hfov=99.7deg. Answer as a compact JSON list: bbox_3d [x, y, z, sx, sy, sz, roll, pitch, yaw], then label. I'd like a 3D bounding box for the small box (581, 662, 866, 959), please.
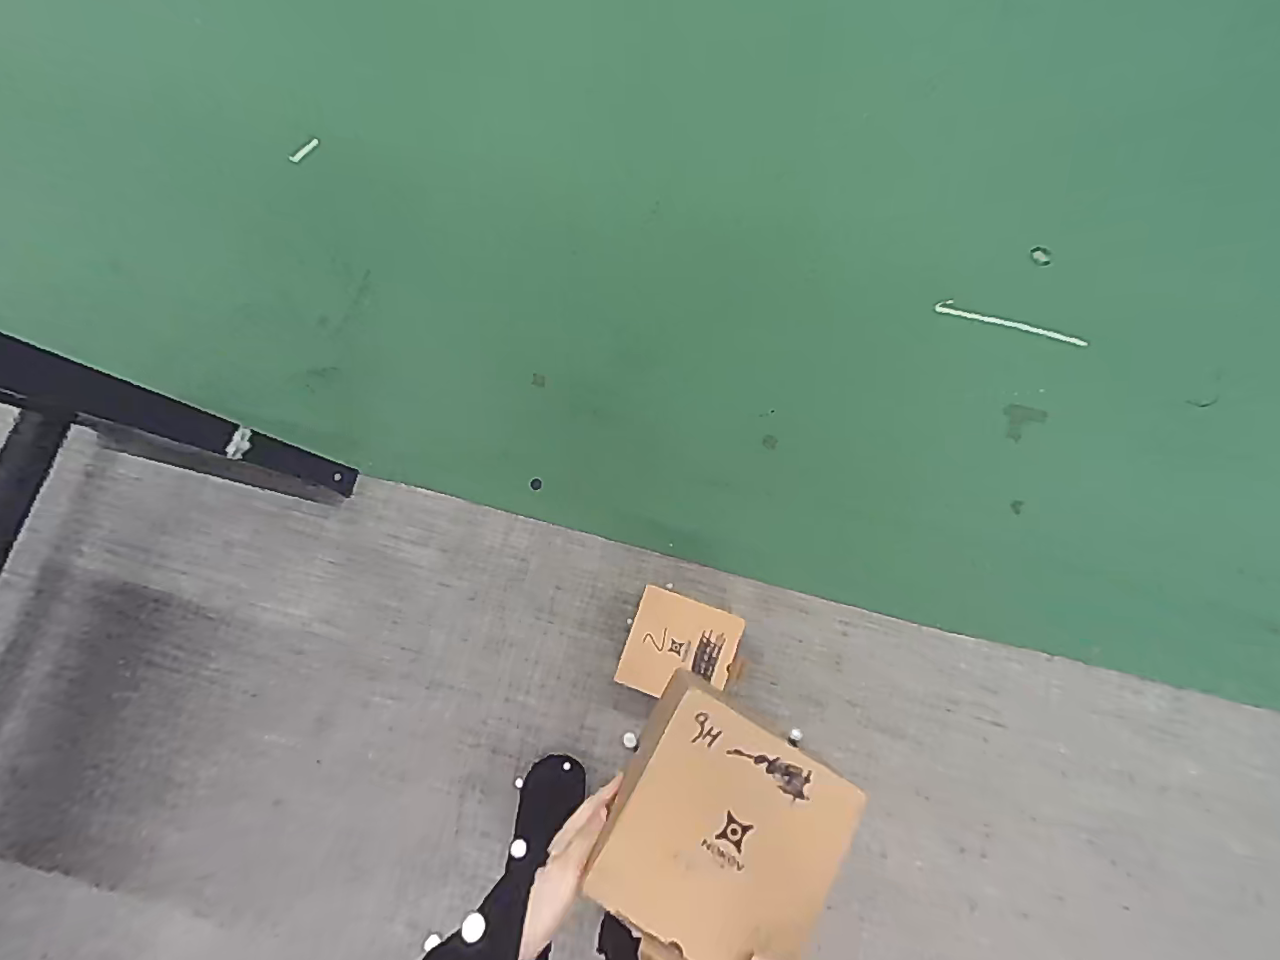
[{"bbox_3d":[0.069,0.290,0.497,0.168,0.176,0.179,30,79,7],"label":"small box"}]
